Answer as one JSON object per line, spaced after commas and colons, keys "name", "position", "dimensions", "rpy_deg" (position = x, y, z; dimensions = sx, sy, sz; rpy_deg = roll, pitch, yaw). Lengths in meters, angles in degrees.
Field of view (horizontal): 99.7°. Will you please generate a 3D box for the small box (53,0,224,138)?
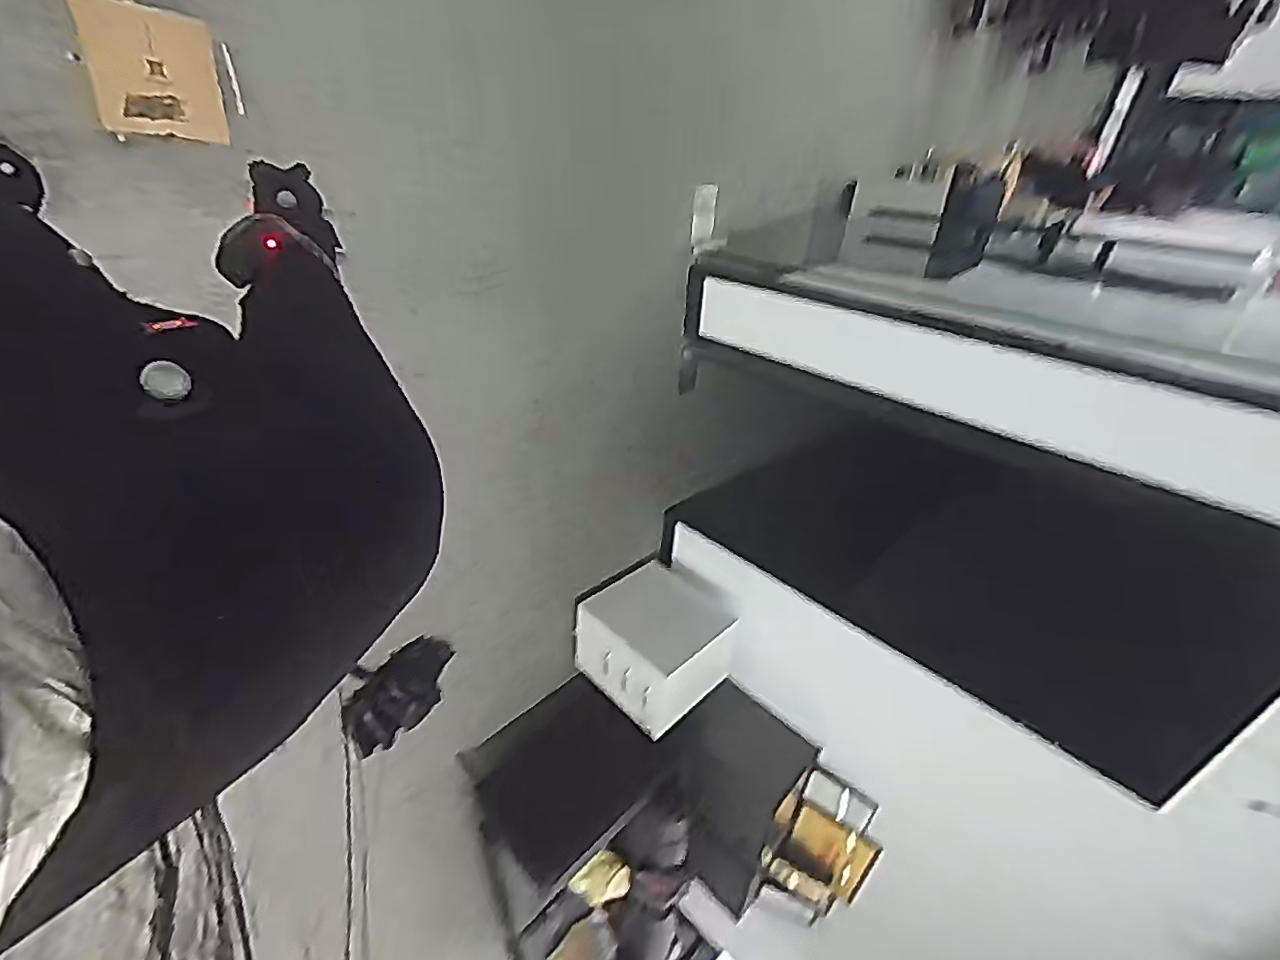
{"name": "small box", "position": [-0.819, -0.680, 0.889], "dimensions": [0.168, 0.176, 0.179], "rpy_deg": [-20, 128, -43]}
